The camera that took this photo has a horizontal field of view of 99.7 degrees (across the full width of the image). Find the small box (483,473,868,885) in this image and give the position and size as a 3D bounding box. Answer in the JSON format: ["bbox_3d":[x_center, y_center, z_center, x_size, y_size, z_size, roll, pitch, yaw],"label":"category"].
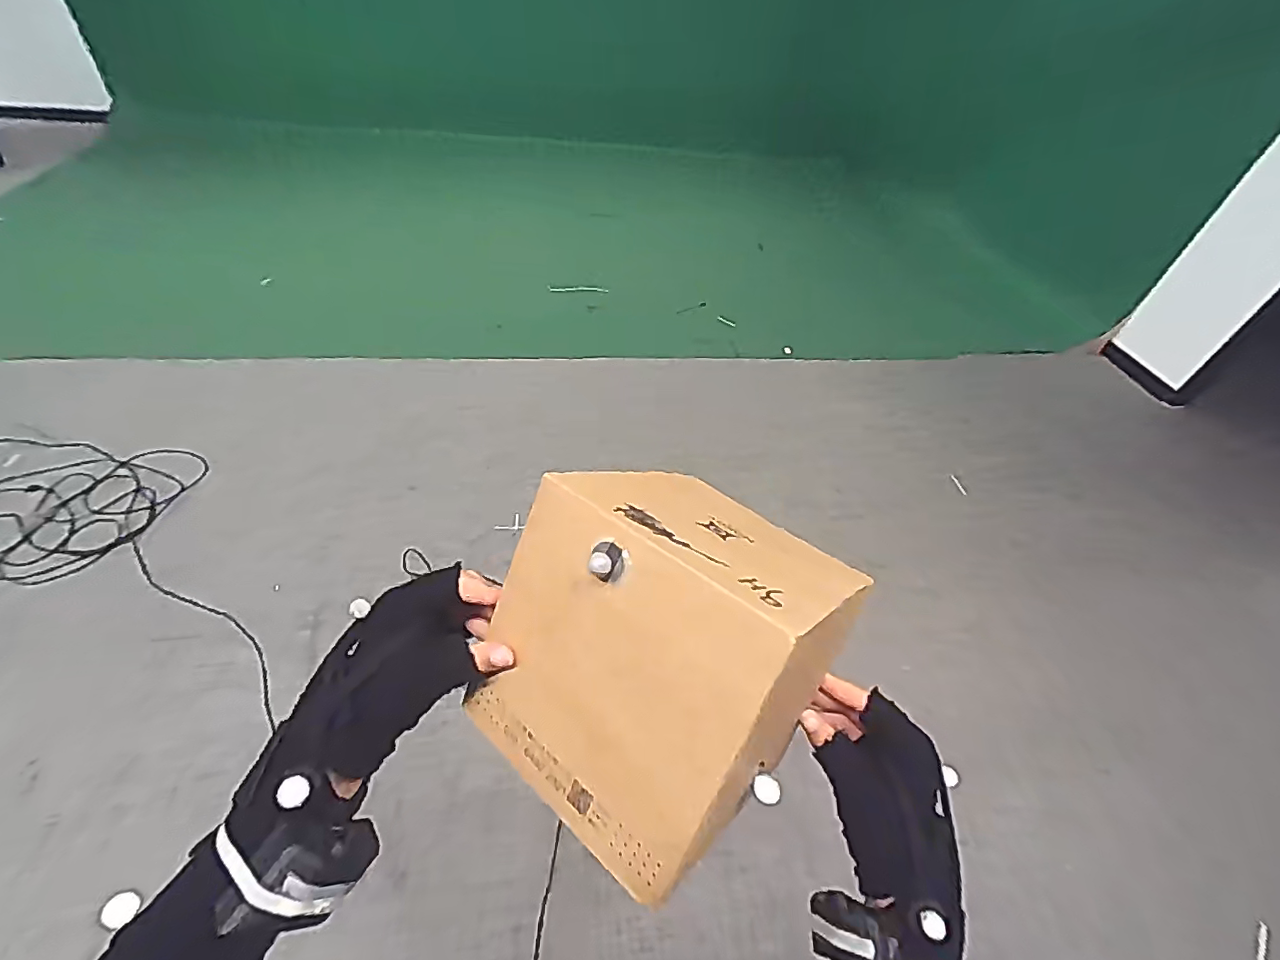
[{"bbox_3d":[0.025,0.109,0.369,0.168,0.176,0.179,29,14,31],"label":"small box"}]
